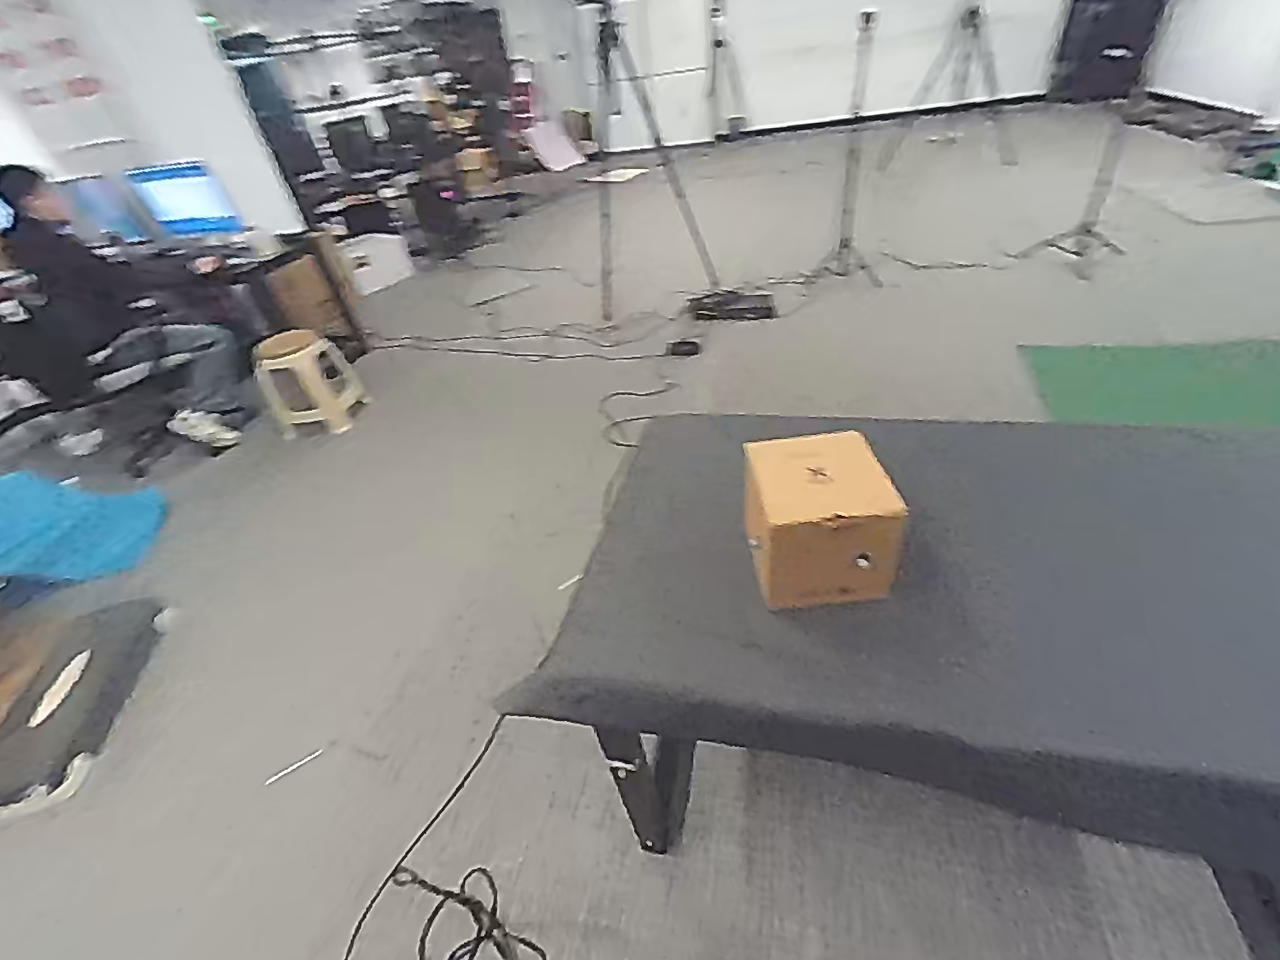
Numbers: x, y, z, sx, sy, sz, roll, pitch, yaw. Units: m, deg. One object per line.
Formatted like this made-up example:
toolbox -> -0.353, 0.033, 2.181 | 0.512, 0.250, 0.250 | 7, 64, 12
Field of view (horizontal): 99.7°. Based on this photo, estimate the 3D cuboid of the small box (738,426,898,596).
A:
small box -> 0.234, 0.047, 0.758 | 0.168, 0.176, 0.179 | -6, 37, 2
